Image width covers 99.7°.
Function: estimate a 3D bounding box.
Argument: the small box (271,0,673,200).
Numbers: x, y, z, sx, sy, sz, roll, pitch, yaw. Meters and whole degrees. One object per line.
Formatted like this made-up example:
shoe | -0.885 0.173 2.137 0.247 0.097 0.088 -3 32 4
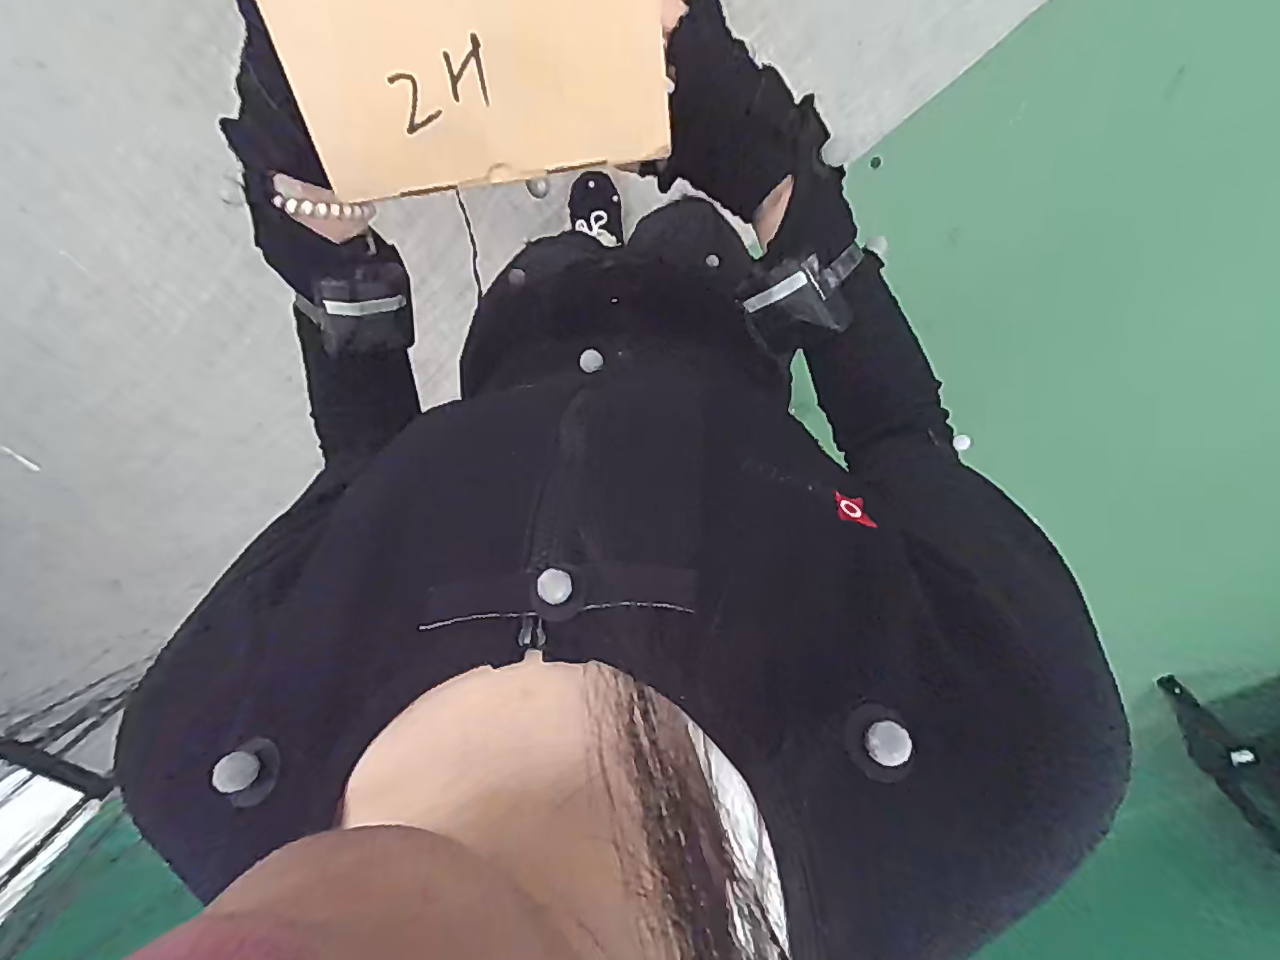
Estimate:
small box | -0.076 -0.260 0.284 0.168 0.176 0.179 -6 123 3
